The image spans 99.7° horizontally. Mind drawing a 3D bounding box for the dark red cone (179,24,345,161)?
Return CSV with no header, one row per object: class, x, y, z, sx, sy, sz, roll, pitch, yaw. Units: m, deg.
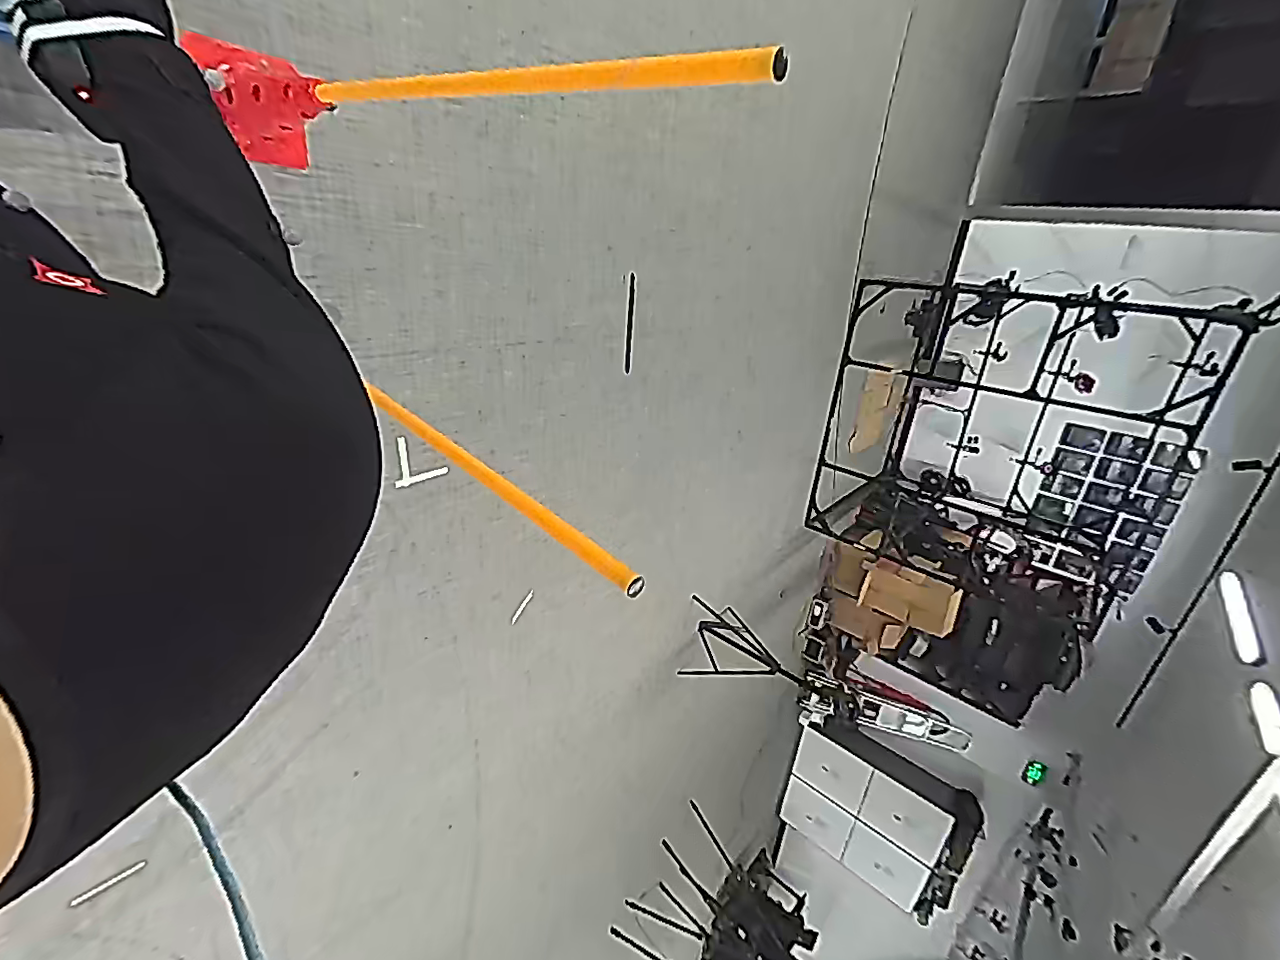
dark red cone,-0.657,-0.720,0.997,0.201,0.394,0.202,-22,126,-48
